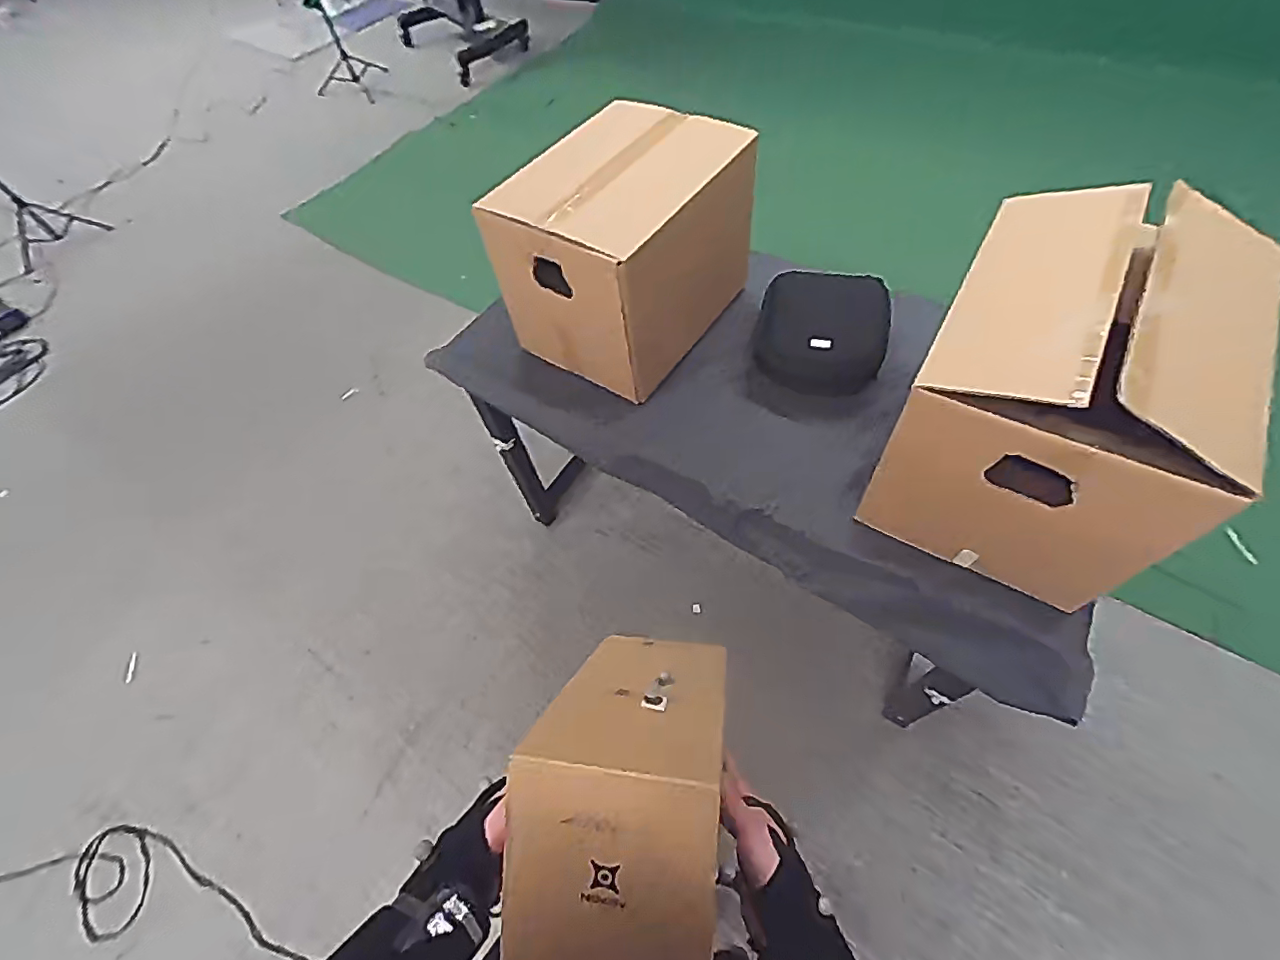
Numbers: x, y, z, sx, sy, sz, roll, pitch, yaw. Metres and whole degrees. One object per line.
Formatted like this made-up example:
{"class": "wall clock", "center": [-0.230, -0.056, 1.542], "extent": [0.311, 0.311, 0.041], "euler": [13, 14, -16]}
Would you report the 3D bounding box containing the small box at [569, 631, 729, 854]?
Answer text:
{"class": "small box", "center": [0.019, 0.302, 0.659], "extent": [0.168, 0.176, 0.179], "euler": [3, 92, 10]}
